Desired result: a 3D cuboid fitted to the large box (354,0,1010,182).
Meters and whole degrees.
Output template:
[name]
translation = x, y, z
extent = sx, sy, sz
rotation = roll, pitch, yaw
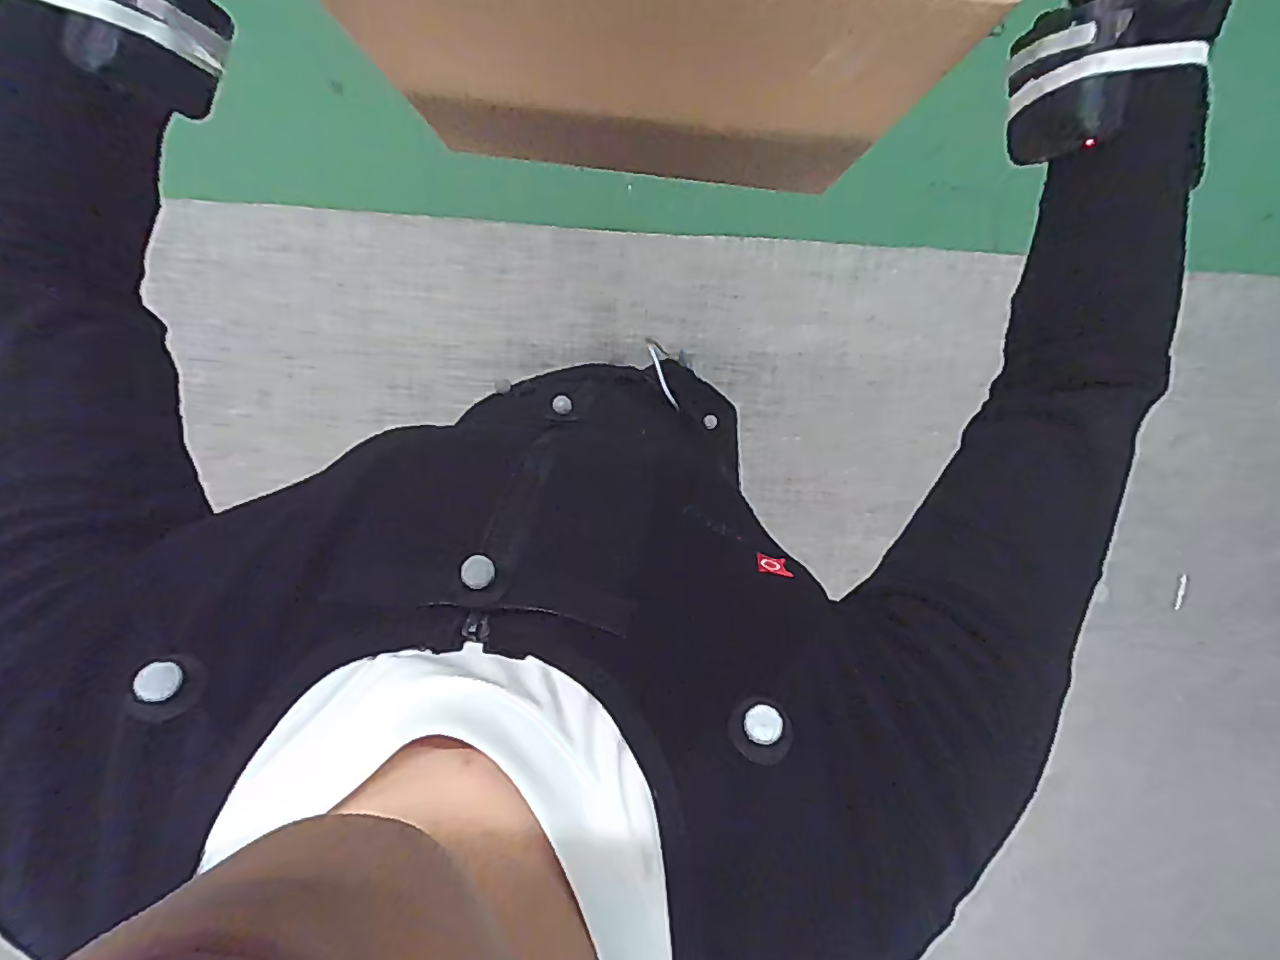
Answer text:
[large box]
translation = 0.019, -0.454, 0.404
extent = 0.408, 0.320, 0.320
rotation = 5, 102, -2
